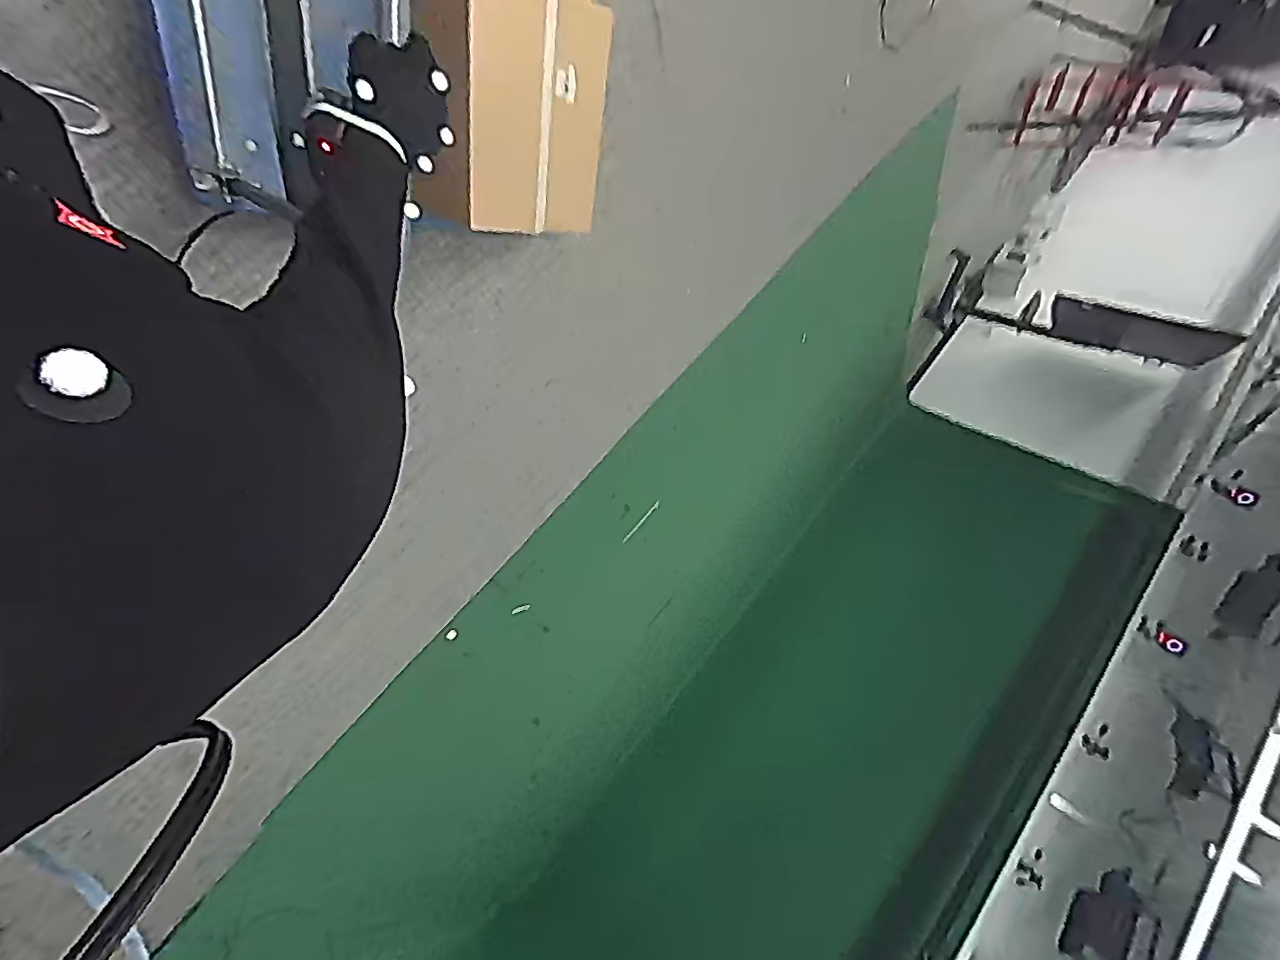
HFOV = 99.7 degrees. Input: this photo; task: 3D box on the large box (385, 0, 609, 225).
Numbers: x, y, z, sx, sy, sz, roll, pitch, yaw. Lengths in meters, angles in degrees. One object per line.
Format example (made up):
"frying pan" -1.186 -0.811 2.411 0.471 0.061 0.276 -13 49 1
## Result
"large box" -0.294 -0.769 1.113 0.320 0.320 0.408 -24 134 -41
